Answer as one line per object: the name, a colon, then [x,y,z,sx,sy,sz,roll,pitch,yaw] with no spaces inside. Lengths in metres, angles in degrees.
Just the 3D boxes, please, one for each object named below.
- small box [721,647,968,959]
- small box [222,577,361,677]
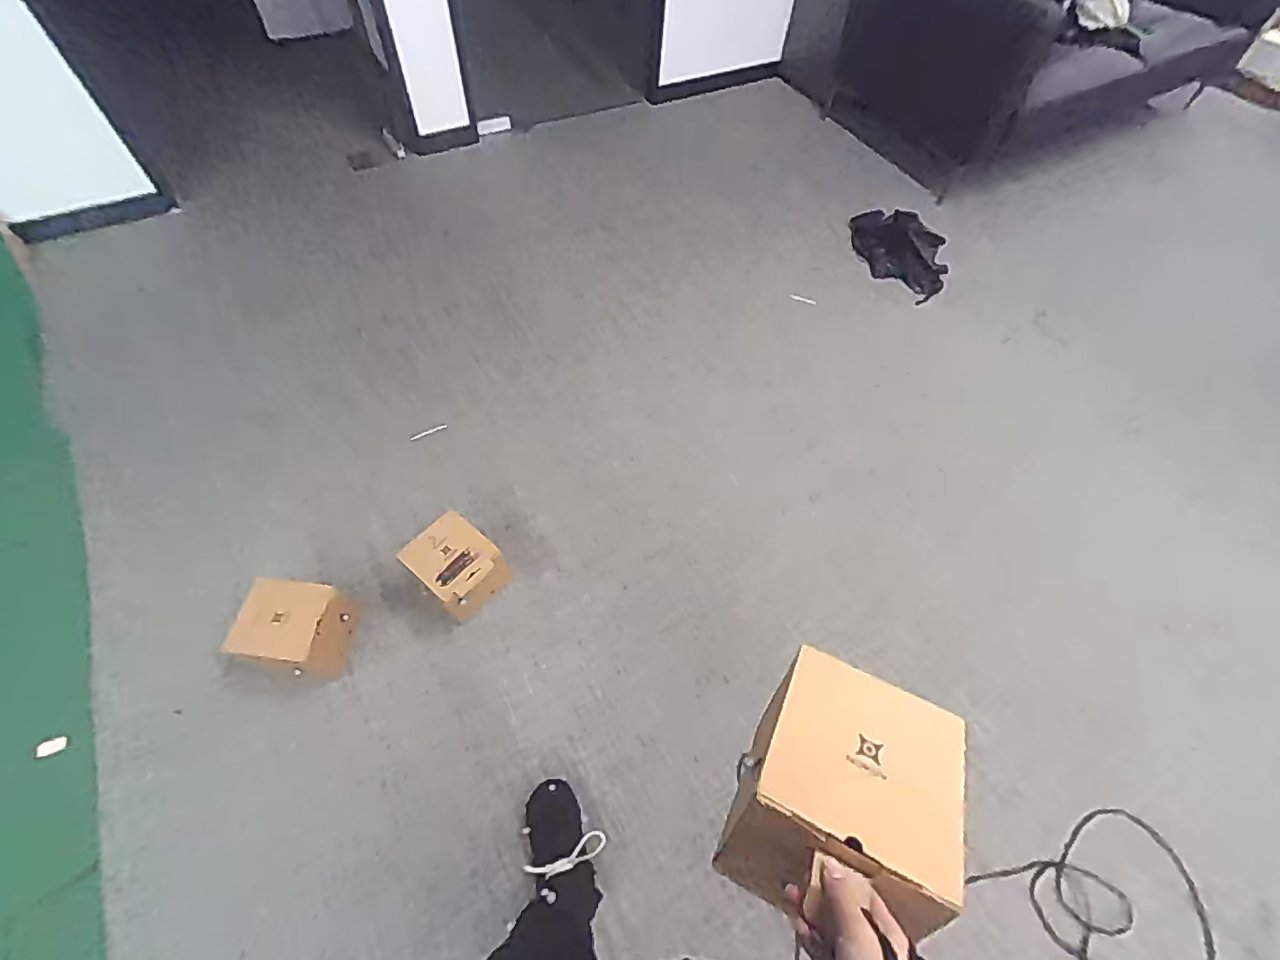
small box: [0.193,0.310,0.529,0.168,0.176,0.179,23,38,16]
small box: [-0.758,0.332,1.203,0.179,0.176,0.168,6,57,1]
